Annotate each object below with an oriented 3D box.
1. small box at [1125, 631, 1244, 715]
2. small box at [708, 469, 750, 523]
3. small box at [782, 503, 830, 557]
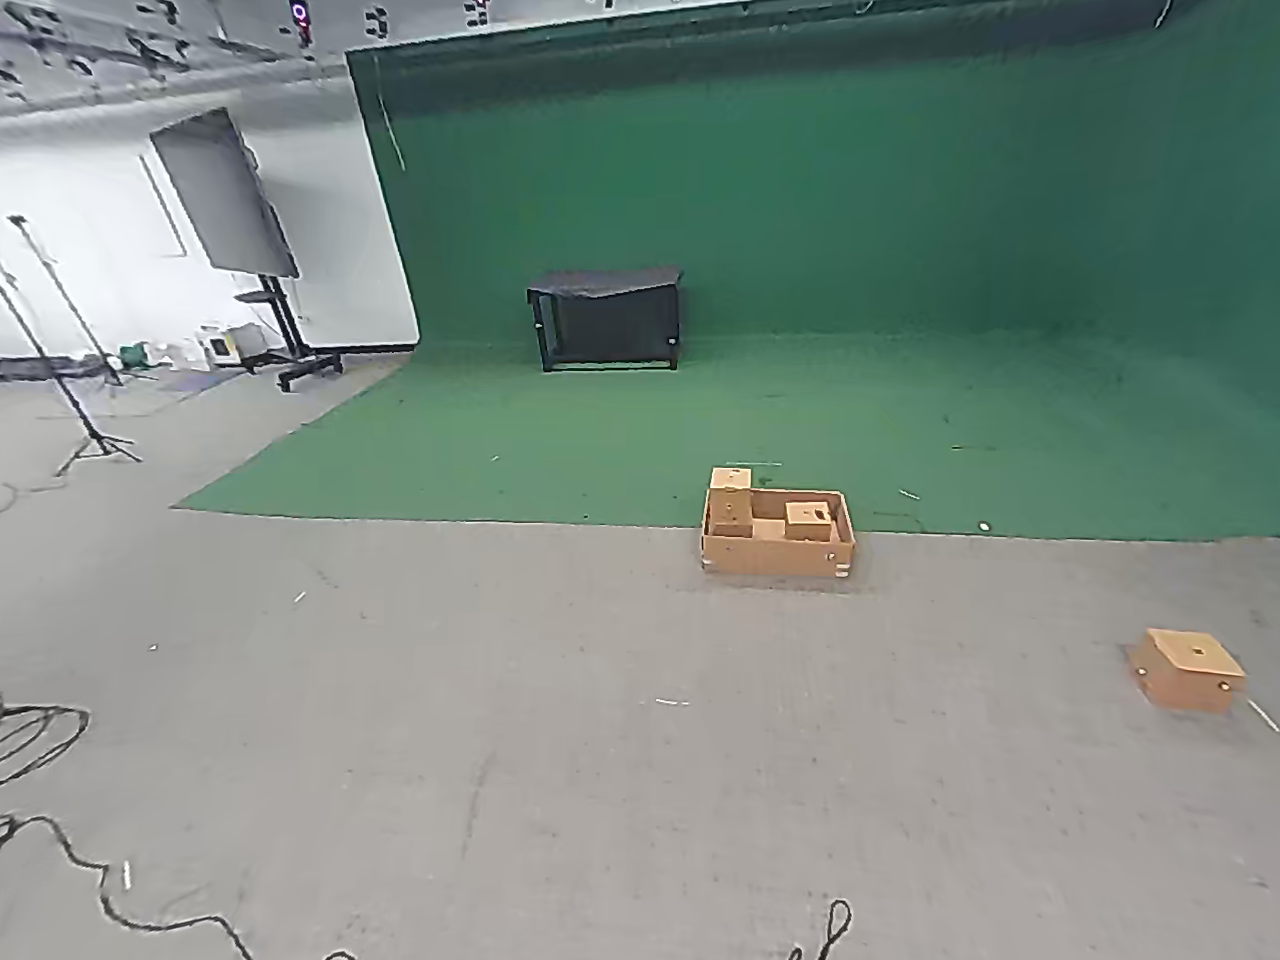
[{"bbox_3d":[1.664,0.595,1.665,0.179,0.176,0.168,4,31,14],"label":"small box"},{"bbox_3d":[0.382,0.067,2.310,0.168,0.176,0.179,3,32,12],"label":"small box"},{"bbox_3d":[0.712,0.216,2.336,0.179,0.176,0.168,1,31,11],"label":"small box"}]
